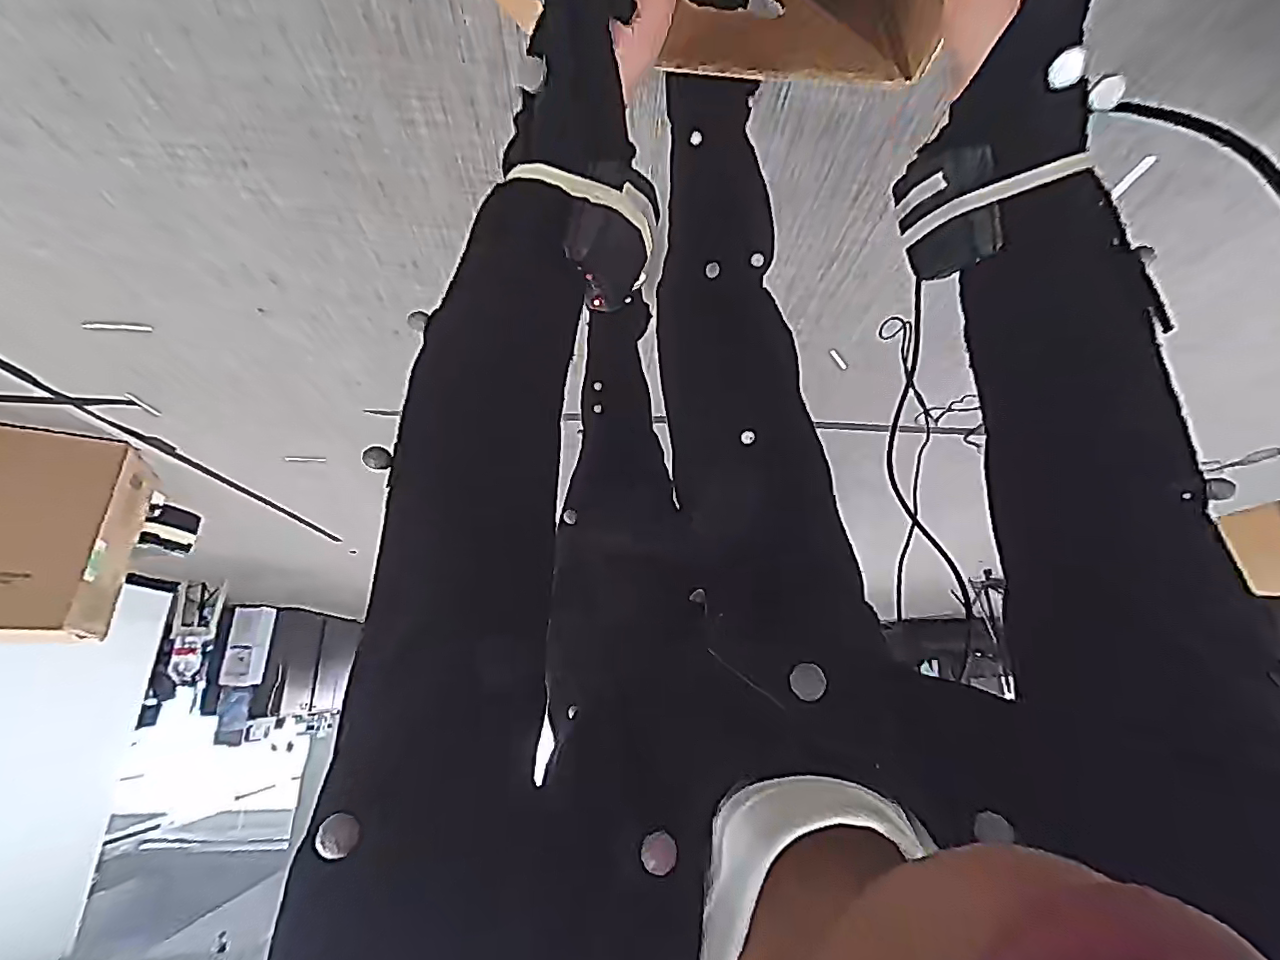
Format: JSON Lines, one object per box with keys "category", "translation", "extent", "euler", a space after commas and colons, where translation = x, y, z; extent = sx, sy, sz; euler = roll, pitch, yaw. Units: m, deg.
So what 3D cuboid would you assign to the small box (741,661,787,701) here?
{"category": "small box", "translation": [0.580, 0.949, 2.548], "extent": [0.179, 0.176, 0.168], "euler": [0, 160, -1]}
